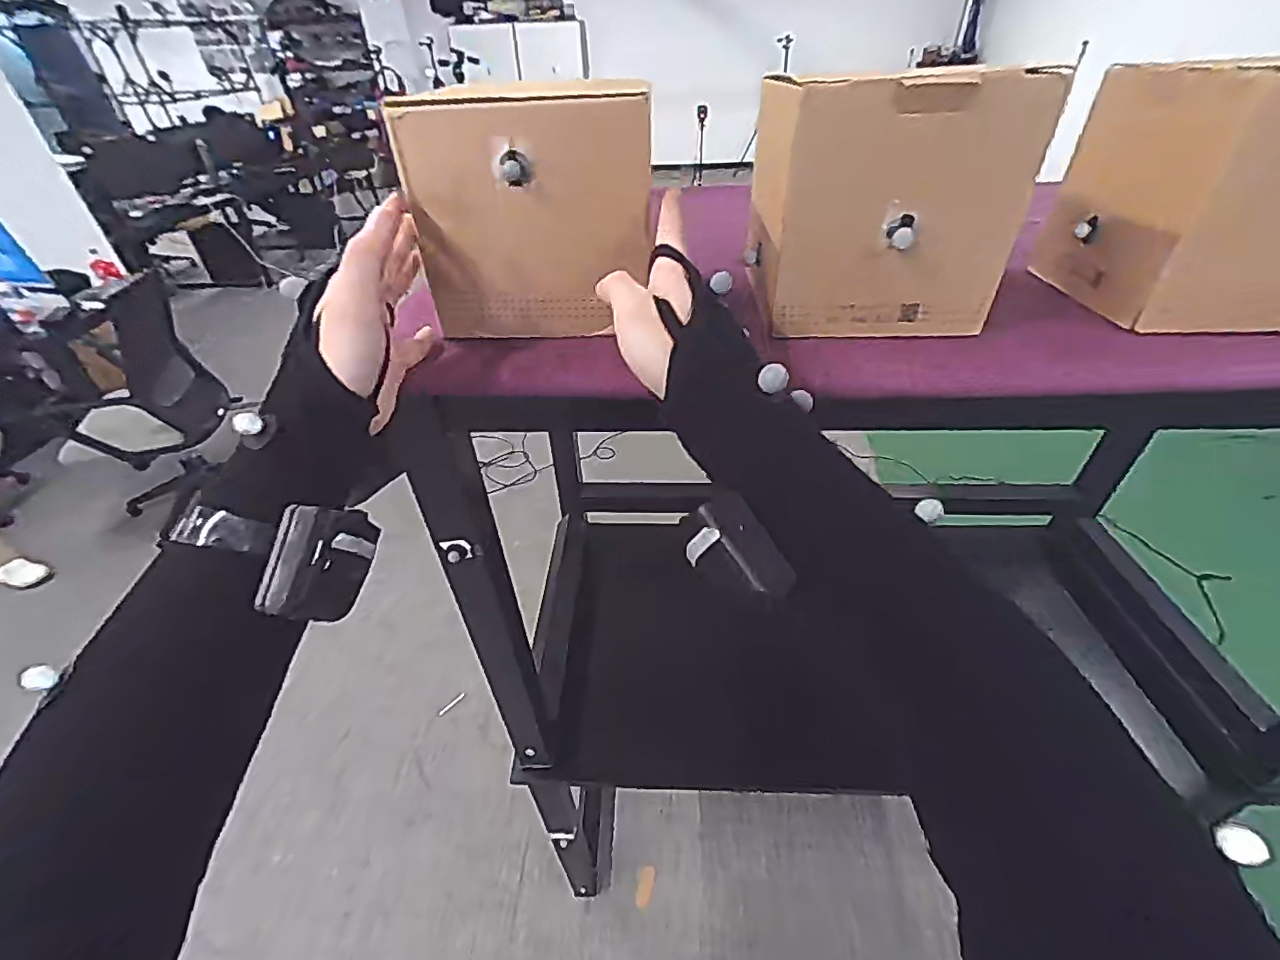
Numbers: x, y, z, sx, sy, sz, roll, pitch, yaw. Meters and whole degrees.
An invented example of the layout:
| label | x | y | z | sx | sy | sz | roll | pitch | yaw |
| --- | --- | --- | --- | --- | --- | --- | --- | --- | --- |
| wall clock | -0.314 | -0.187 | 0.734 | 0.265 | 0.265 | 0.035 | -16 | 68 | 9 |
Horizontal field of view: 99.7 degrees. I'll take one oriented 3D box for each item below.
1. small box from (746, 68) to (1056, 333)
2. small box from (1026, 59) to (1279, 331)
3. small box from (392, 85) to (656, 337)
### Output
| label | x | y | z | sx | sy | sz | roll | pitch | yaw |
| --- | --- | --- | --- | --- | --- | --- | --- | --- | --- |
| small box | 0.185 | -0.233 | 0.453 | 0.168 | 0.176 | 0.179 | 1 | 38 | 3 |
| small box | 0.467 | -0.230 | 0.437 | 0.179 | 0.176 | 0.168 | 0 | 37 | 5 |
| small box | -0.075 | -0.232 | 0.467 | 0.179 | 0.176 | 0.168 | 0 | 39 | 2 |
